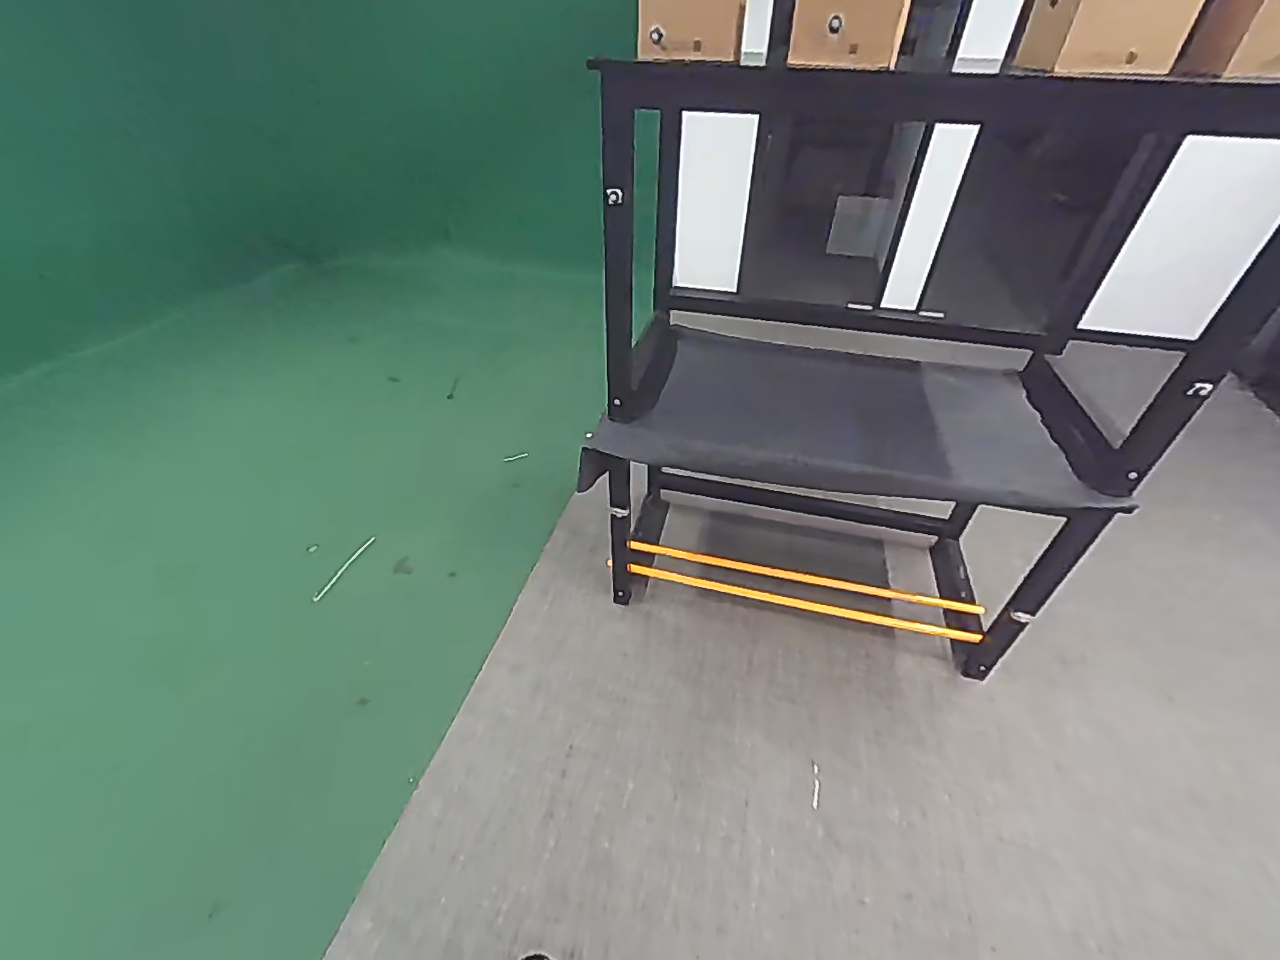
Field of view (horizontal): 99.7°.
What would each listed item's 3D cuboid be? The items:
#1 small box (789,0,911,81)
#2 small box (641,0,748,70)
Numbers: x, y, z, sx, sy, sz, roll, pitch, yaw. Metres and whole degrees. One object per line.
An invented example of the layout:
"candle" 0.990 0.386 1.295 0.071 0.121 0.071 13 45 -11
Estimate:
"small box" 0.356 -0.778 0.899 0.168 0.176 0.179 15 42 16
"small box" 0.098 -0.824 0.943 0.168 0.176 0.179 9 39 9
